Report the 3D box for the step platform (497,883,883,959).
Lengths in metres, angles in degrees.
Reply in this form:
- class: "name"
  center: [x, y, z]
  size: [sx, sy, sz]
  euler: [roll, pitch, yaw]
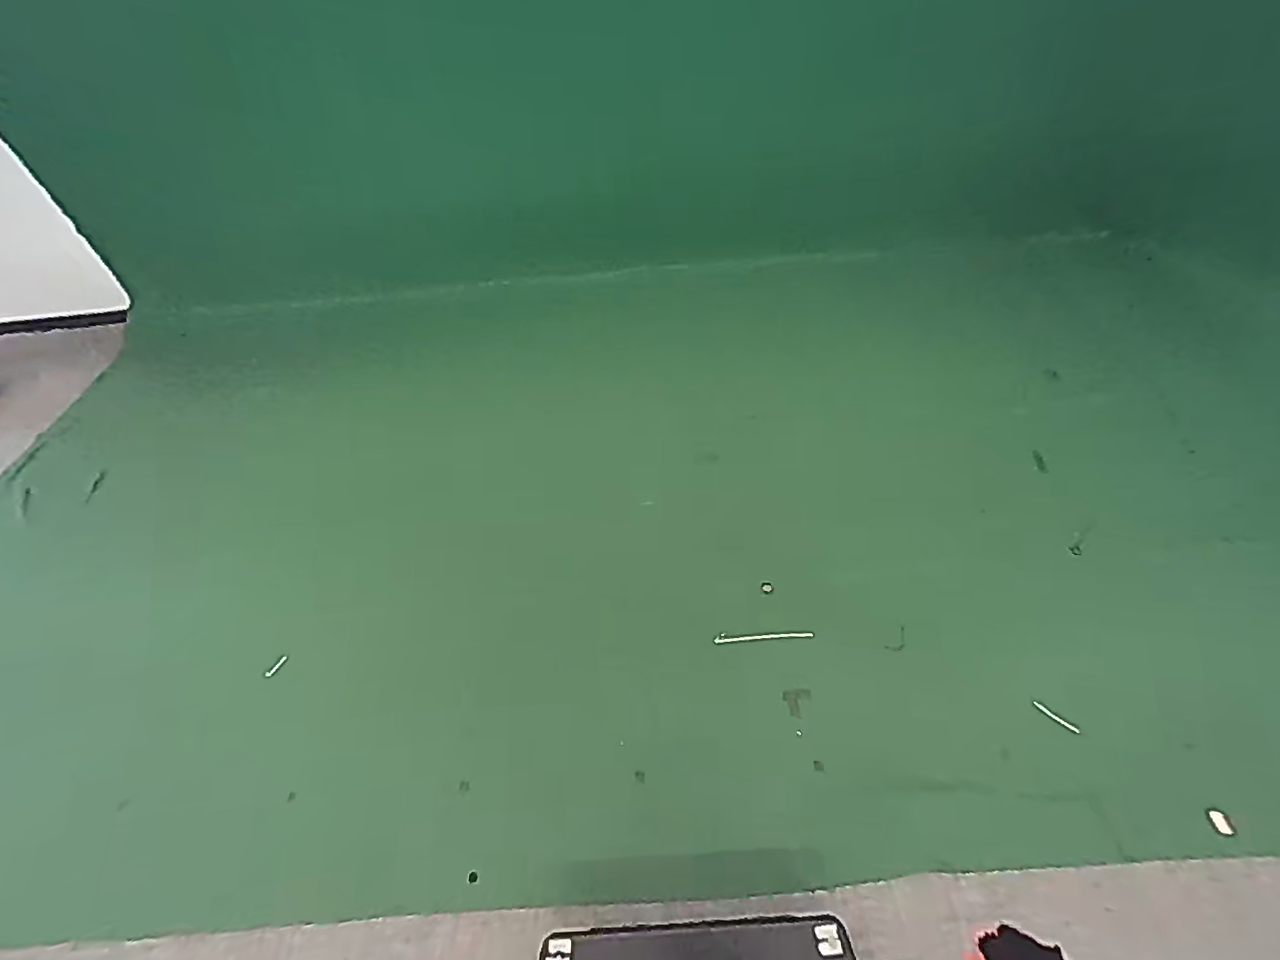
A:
- class: "step platform"
  center: [0.090, 0.939, 0.985]
  size: [0.684, 0.204, 0.286]
  euler: [-5, 49, 1]
